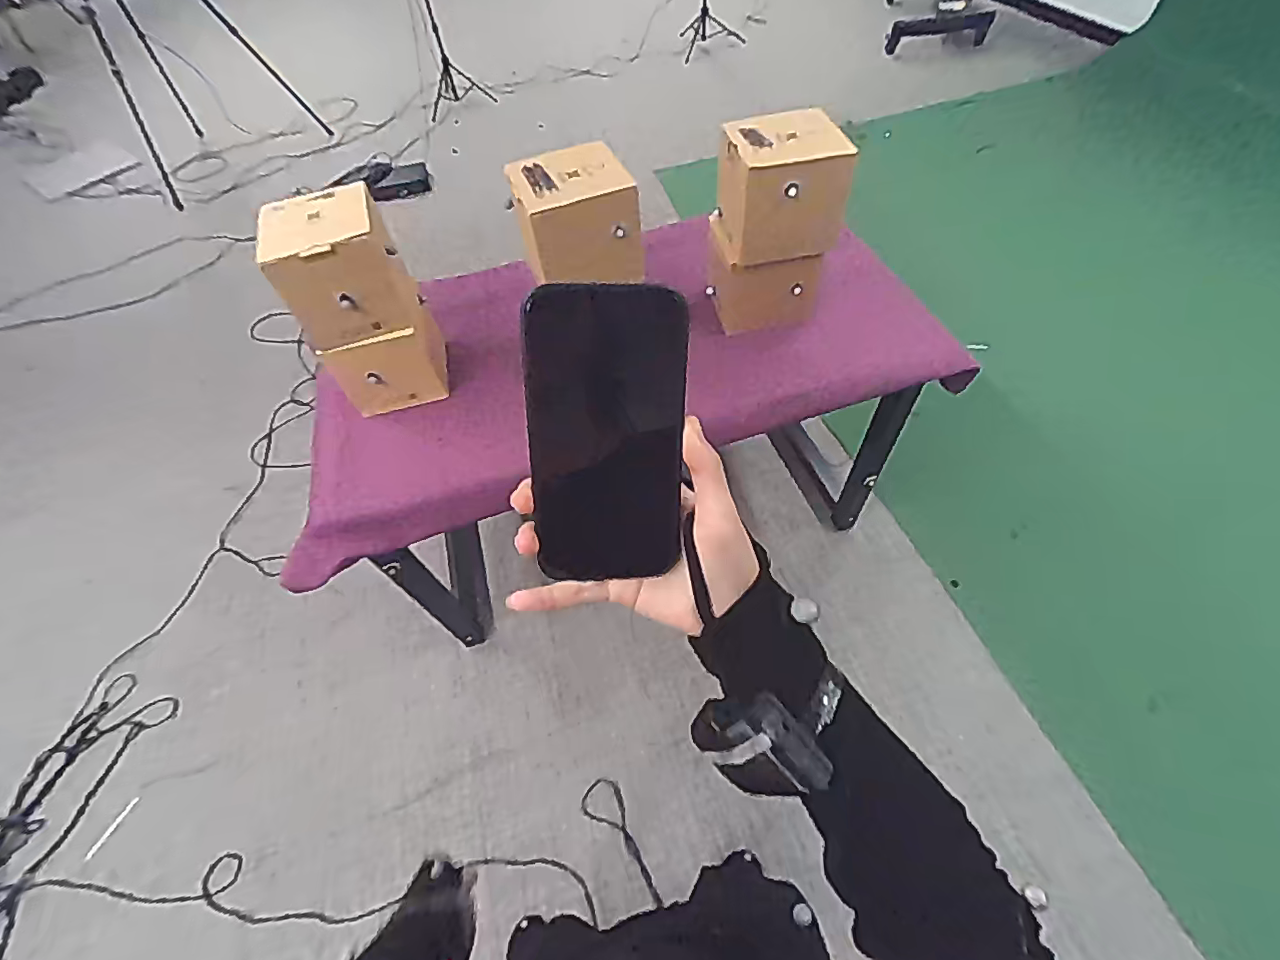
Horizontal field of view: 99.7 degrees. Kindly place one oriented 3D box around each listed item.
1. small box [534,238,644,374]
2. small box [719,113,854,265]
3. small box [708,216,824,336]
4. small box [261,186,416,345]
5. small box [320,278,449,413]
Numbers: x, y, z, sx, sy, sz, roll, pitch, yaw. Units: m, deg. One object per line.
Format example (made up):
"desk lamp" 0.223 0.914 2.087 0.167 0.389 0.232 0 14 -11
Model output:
"small box" -0.093 -0.333 1.047 0.179 0.176 0.168 -15 55 -5
"small box" 0.237 -0.493 0.929 0.179 0.176 0.168 -10 55 -2
"small box" 0.238 -0.410 1.071 0.179 0.176 0.168 -10 55 -1
"small box" -0.488 -0.345 0.895 0.168 0.176 0.179 -19 57 -8
"small box" -0.473 -0.246 1.025 0.168 0.176 0.179 -15 55 -5
